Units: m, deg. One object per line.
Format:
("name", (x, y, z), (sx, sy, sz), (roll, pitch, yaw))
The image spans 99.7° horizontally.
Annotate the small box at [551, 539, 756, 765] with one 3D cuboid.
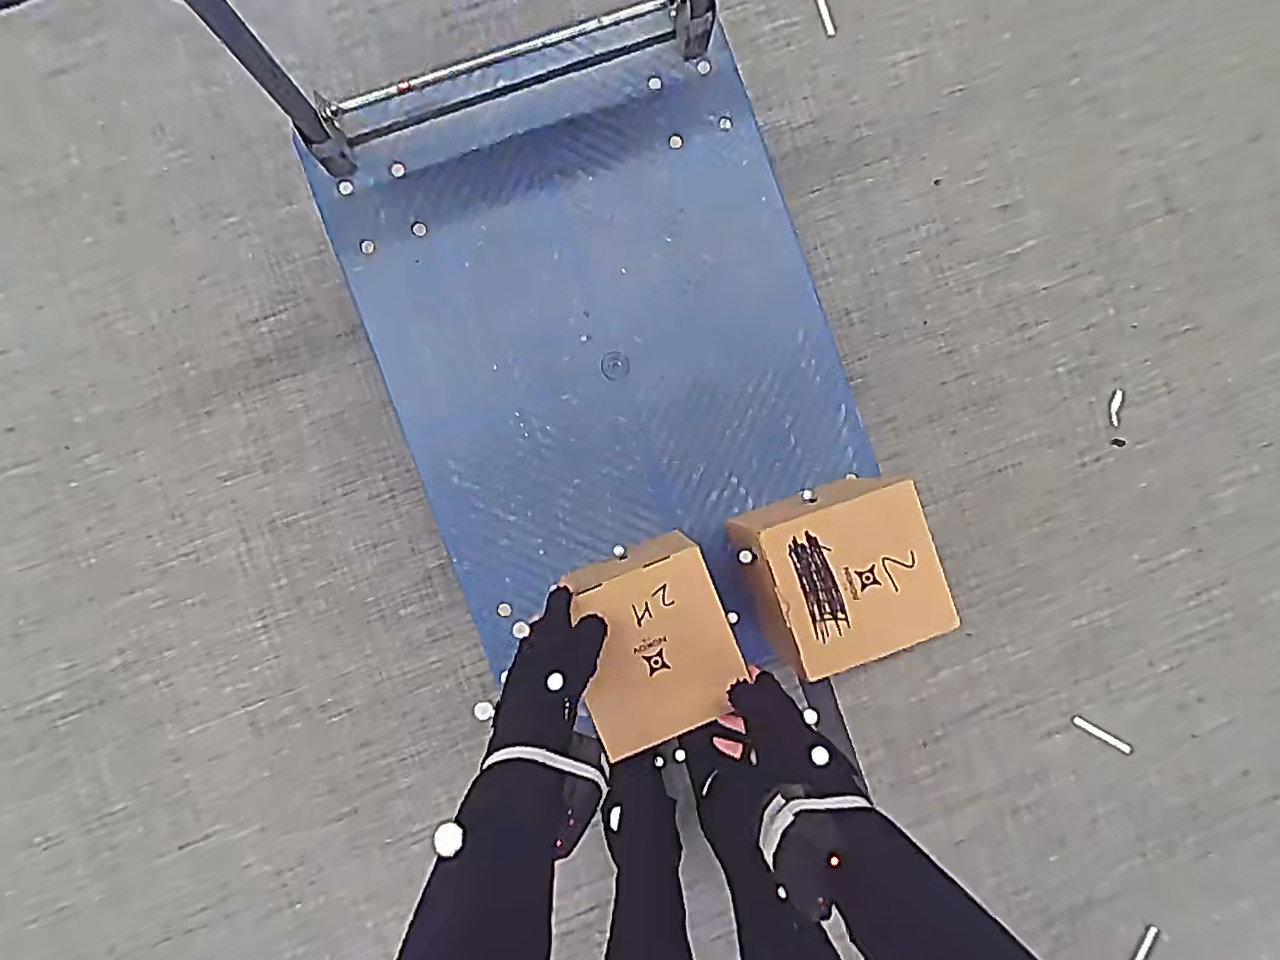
("small box", (0.012, 0.182, 0.630), (0.168, 0.176, 0.179), (-22, 90, -2))
